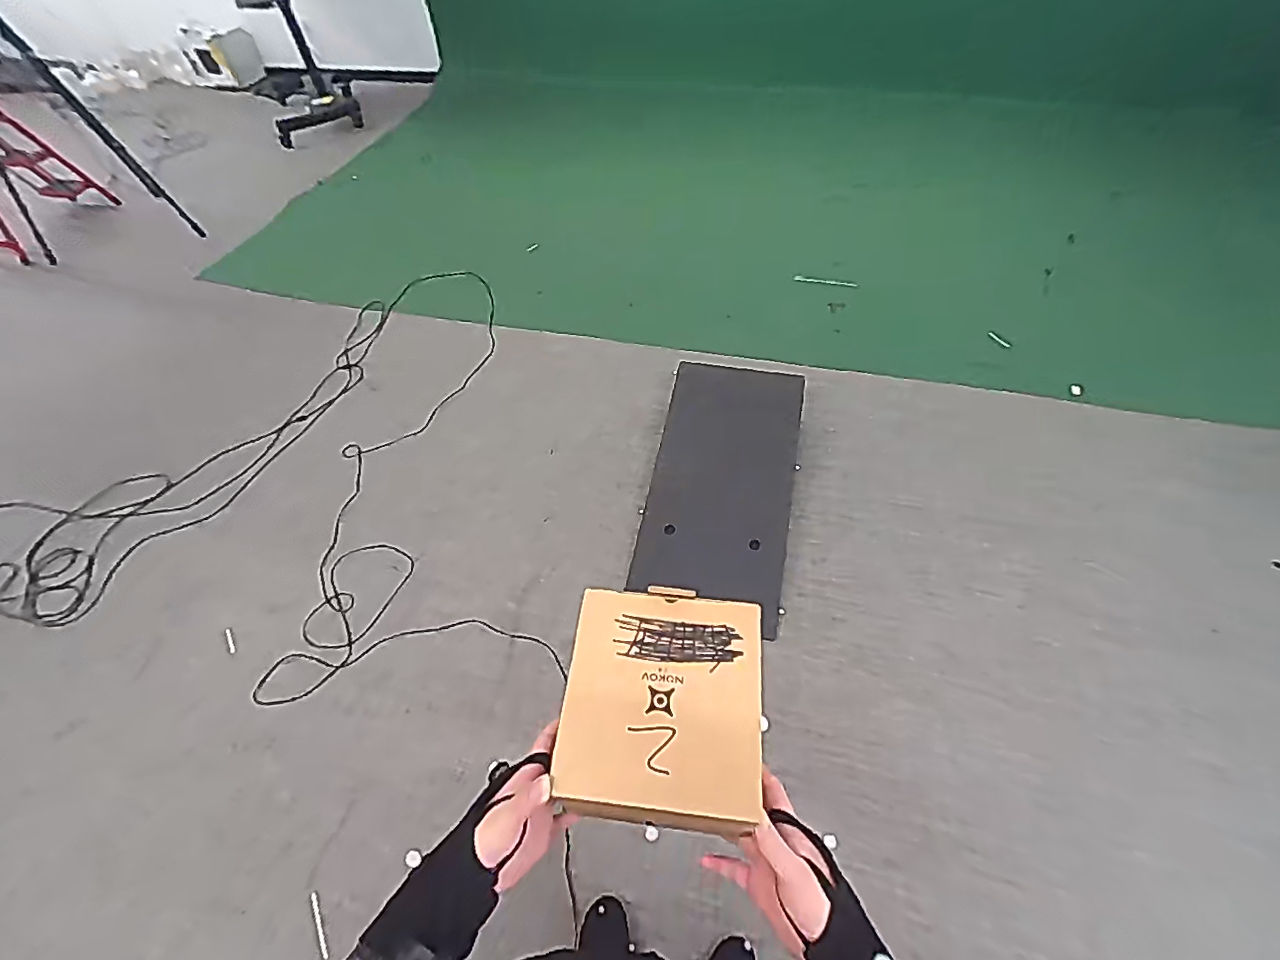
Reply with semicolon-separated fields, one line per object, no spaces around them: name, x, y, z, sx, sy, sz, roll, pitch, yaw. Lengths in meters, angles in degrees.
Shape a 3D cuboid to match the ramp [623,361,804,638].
ramp;0.286;0.008;1.885;0.509;0.206;0.991;8;54;8
